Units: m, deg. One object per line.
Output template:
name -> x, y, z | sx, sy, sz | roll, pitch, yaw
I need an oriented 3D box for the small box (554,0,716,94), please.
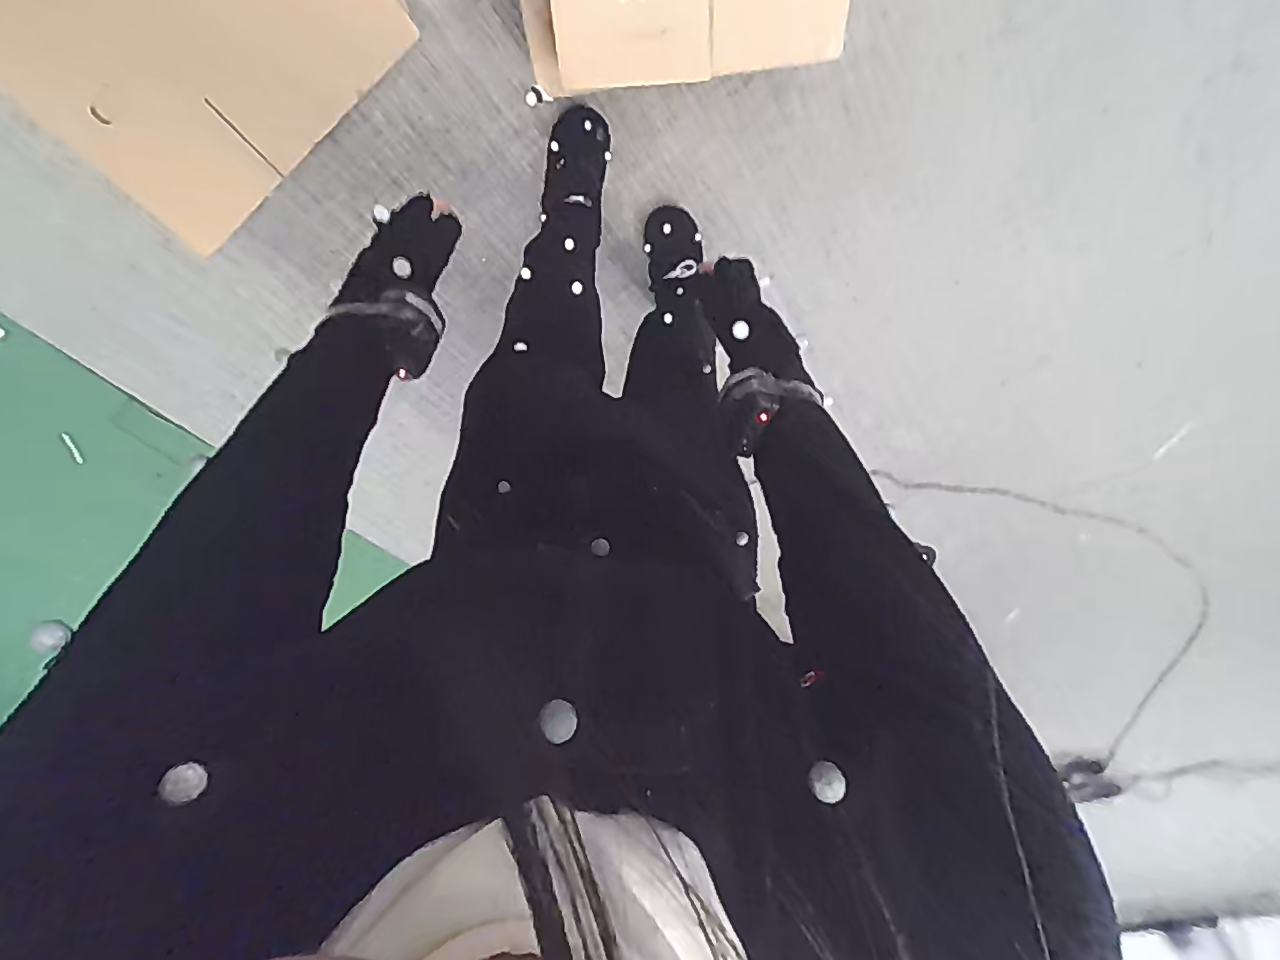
small box -> -0.006, -0.546, 0.591 | 0.168, 0.176, 0.179 | -2, 135, 4

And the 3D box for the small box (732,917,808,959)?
small box -> 0.393, 1.430, 1.622 | 0.168, 0.176, 0.179 | -30, 127, 26
